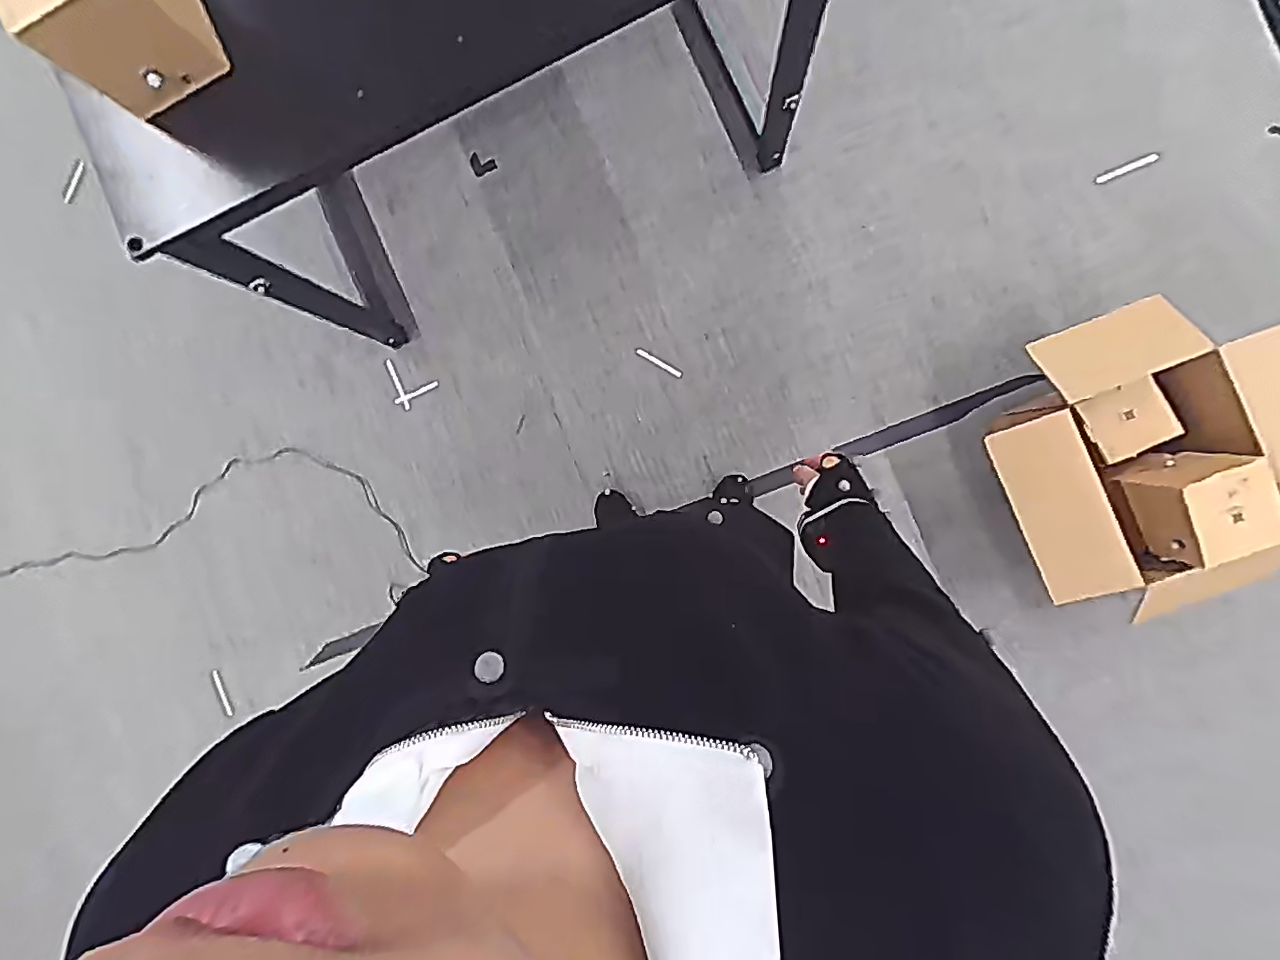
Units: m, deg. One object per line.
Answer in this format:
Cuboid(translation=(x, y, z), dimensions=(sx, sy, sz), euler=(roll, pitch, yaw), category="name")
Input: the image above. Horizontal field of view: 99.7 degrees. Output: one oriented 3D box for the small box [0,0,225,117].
Cuboid(translation=(-0.731, -0.655, 0.739), dimensions=(0.168, 0.176, 0.179), euler=(-25, 90, 5), category="small box")
